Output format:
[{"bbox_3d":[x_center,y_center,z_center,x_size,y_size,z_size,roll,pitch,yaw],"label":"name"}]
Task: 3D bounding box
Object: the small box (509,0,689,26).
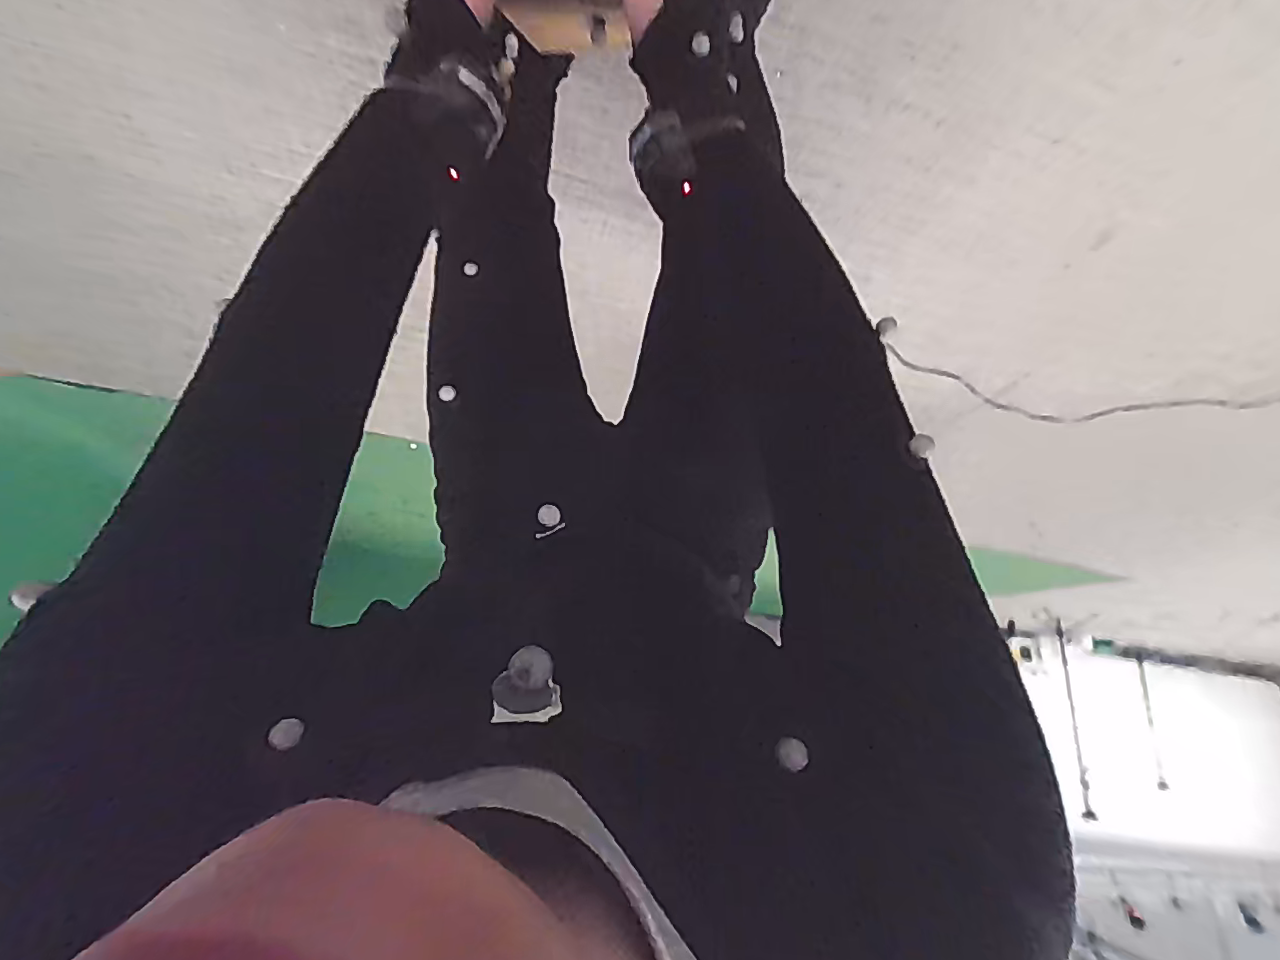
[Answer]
[{"bbox_3d":[-0.043,-0.489,0.423,0.168,0.179,0.176,6,-157,7],"label":"small box"}]
